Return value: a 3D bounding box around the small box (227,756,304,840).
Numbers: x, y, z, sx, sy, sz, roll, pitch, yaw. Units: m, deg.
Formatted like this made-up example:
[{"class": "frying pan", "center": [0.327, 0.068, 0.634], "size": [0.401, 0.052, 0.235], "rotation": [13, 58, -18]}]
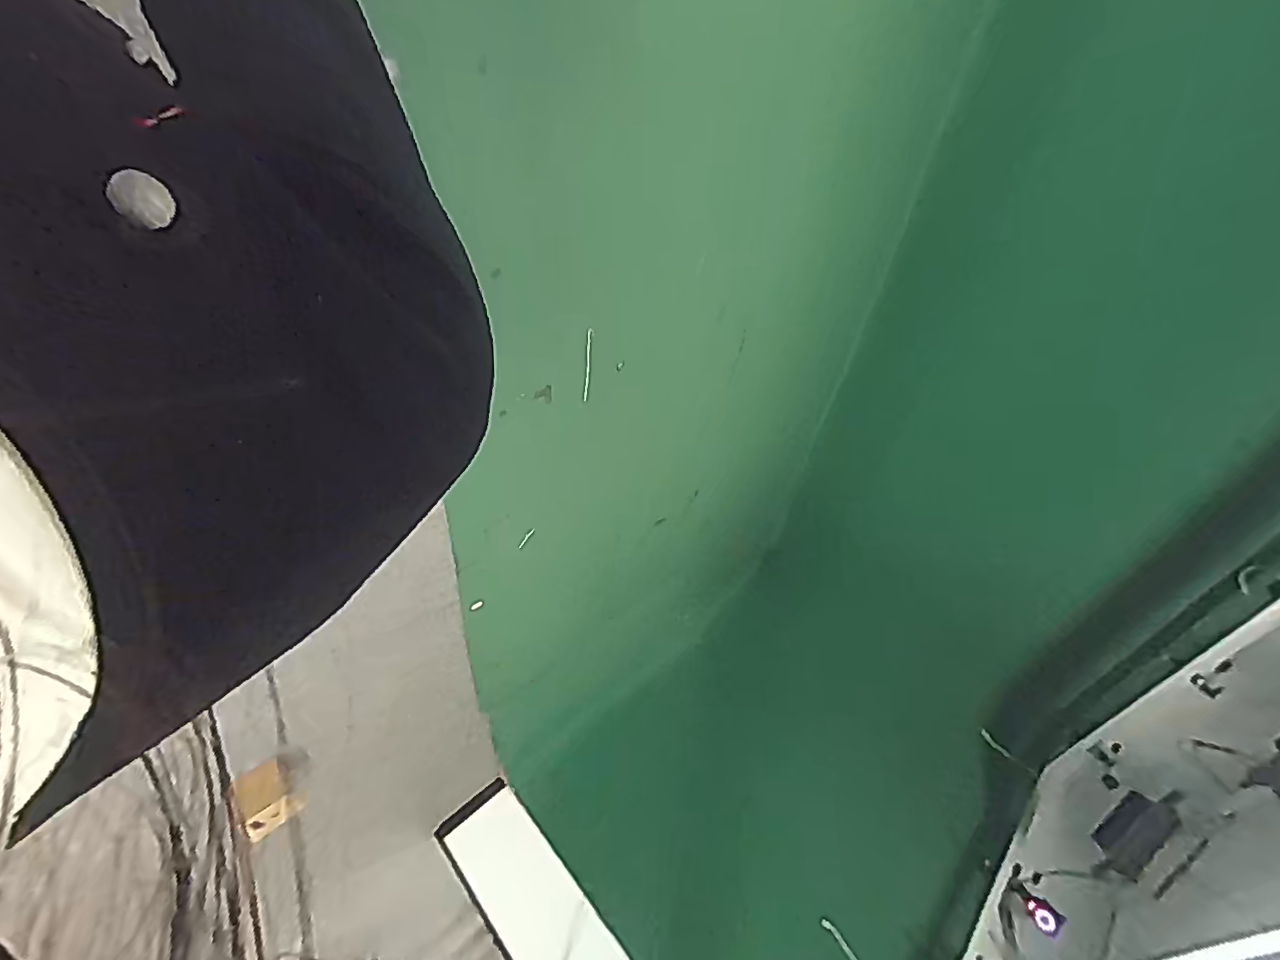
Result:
[{"class": "small box", "center": [-1.389, 1.174, 2.001], "size": [0.179, 0.176, 0.168], "rotation": [-31, 143, -36]}]
